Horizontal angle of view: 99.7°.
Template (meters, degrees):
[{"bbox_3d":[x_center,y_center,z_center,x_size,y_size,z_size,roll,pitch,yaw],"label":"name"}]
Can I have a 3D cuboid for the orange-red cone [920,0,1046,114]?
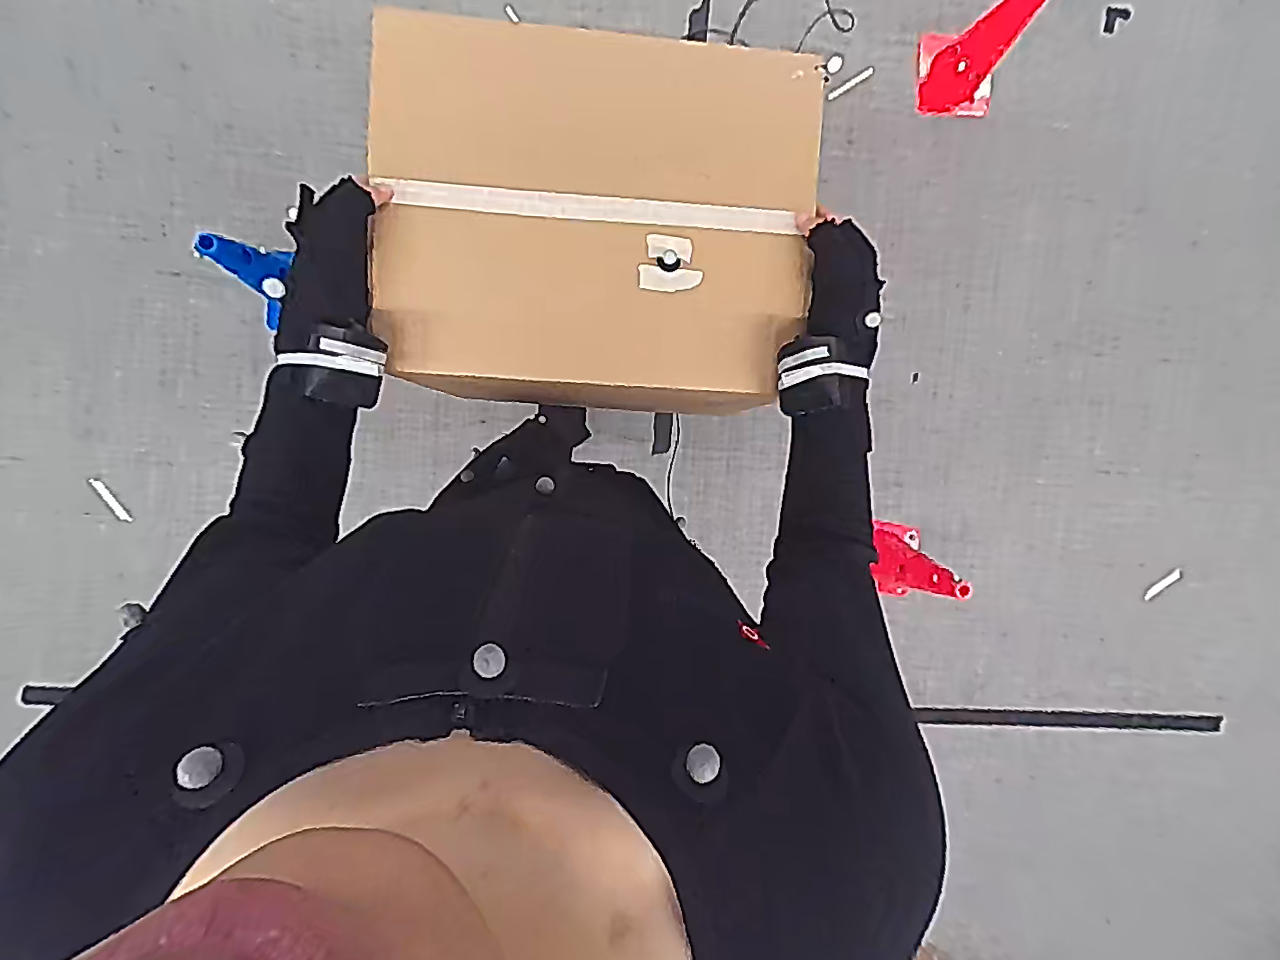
[{"bbox_3d":[0.849,-1.067,1.255,0.198,0.360,0.199,1,93,-5],"label":"orange-red cone"}]

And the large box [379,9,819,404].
[{"bbox_3d":[-0.048,-0.265,0.646,0.408,0.320,0.320,3,94,-5],"label":"large box"}]

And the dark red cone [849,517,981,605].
[{"bbox_3d":[0.687,0.222,1.316,0.201,0.394,0.202,10,93,-3],"label":"dark red cone"}]

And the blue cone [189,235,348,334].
[{"bbox_3d":[-0.834,-0.460,1.208,0.192,0.380,0.193,7,93,-3],"label":"blue cone"}]
